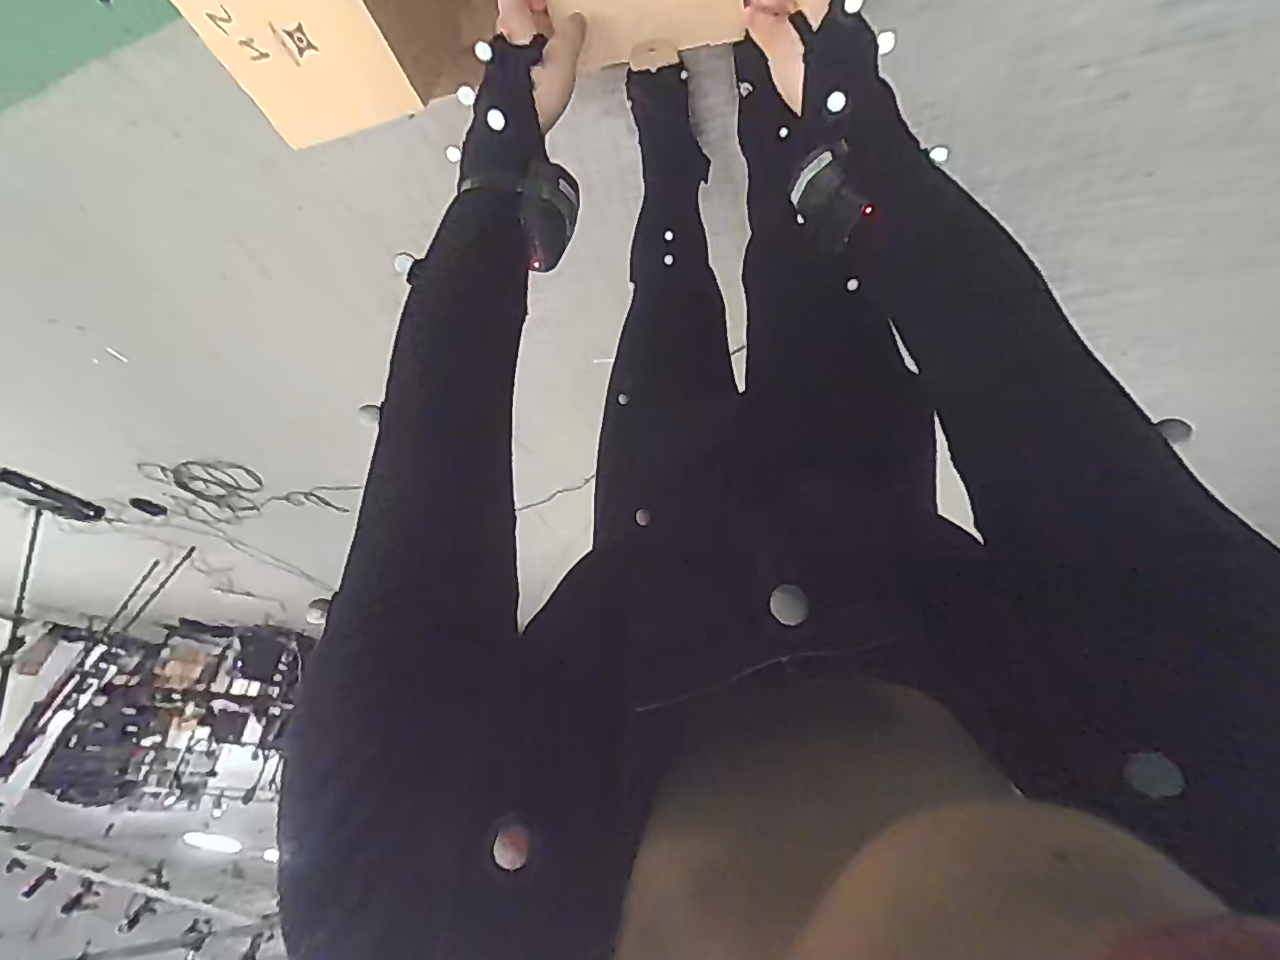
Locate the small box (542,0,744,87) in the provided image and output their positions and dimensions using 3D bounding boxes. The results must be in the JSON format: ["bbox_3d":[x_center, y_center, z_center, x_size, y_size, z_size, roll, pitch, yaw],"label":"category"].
[{"bbox_3d":[0.002,-0.484,0.454,0.168,0.176,0.179,-1,153,15],"label":"small box"}]
